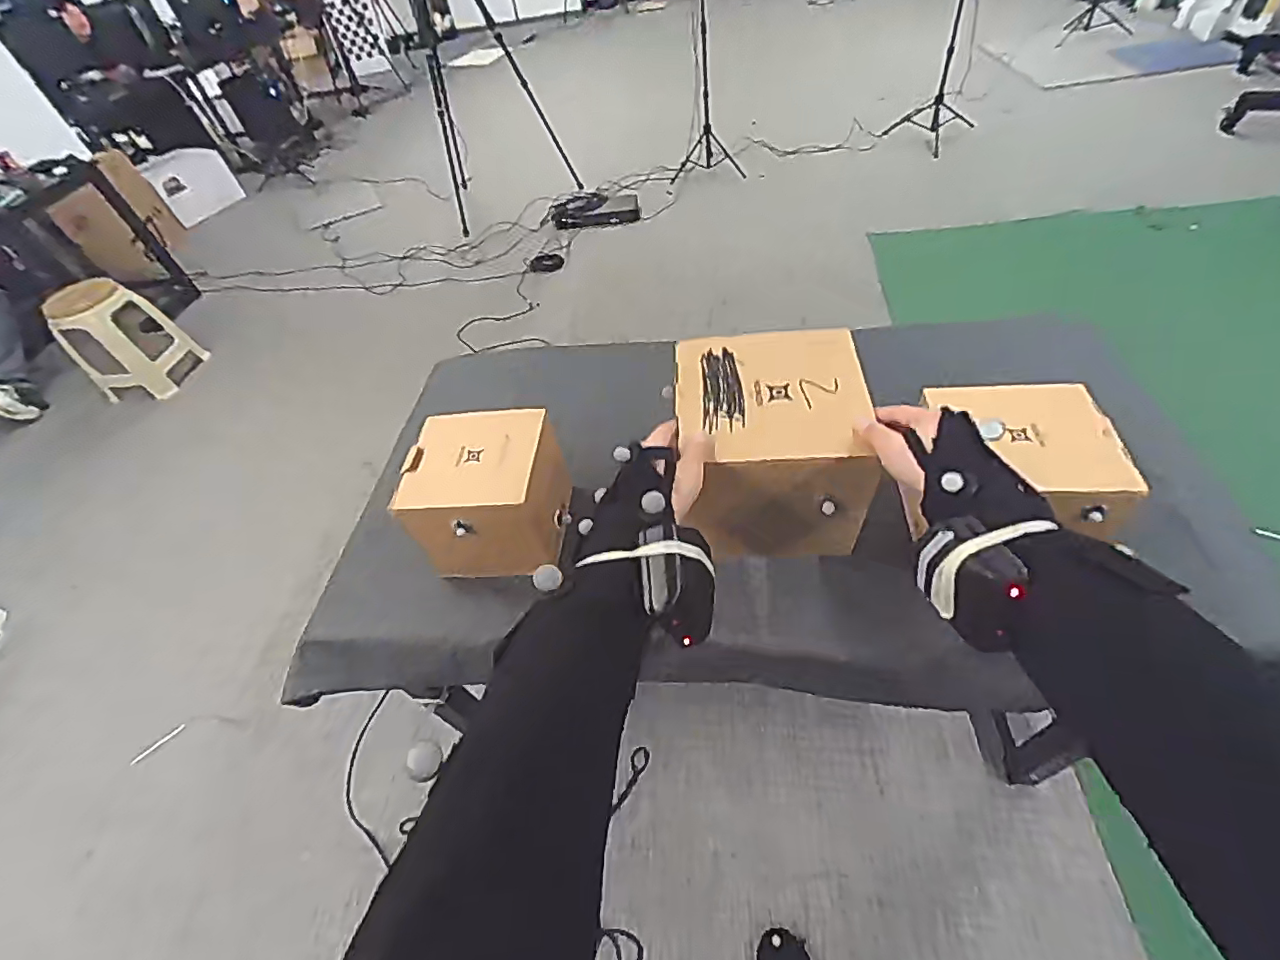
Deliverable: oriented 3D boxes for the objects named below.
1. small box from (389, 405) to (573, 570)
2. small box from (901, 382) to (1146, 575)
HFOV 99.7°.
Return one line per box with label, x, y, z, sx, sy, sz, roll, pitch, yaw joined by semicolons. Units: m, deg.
small box;-0.205;0.016;0.753;0.179;0.176;0.168;-2;51;7
small box;0.429;0.002;0.650;0.179;0.176;0.168;0;50;10
